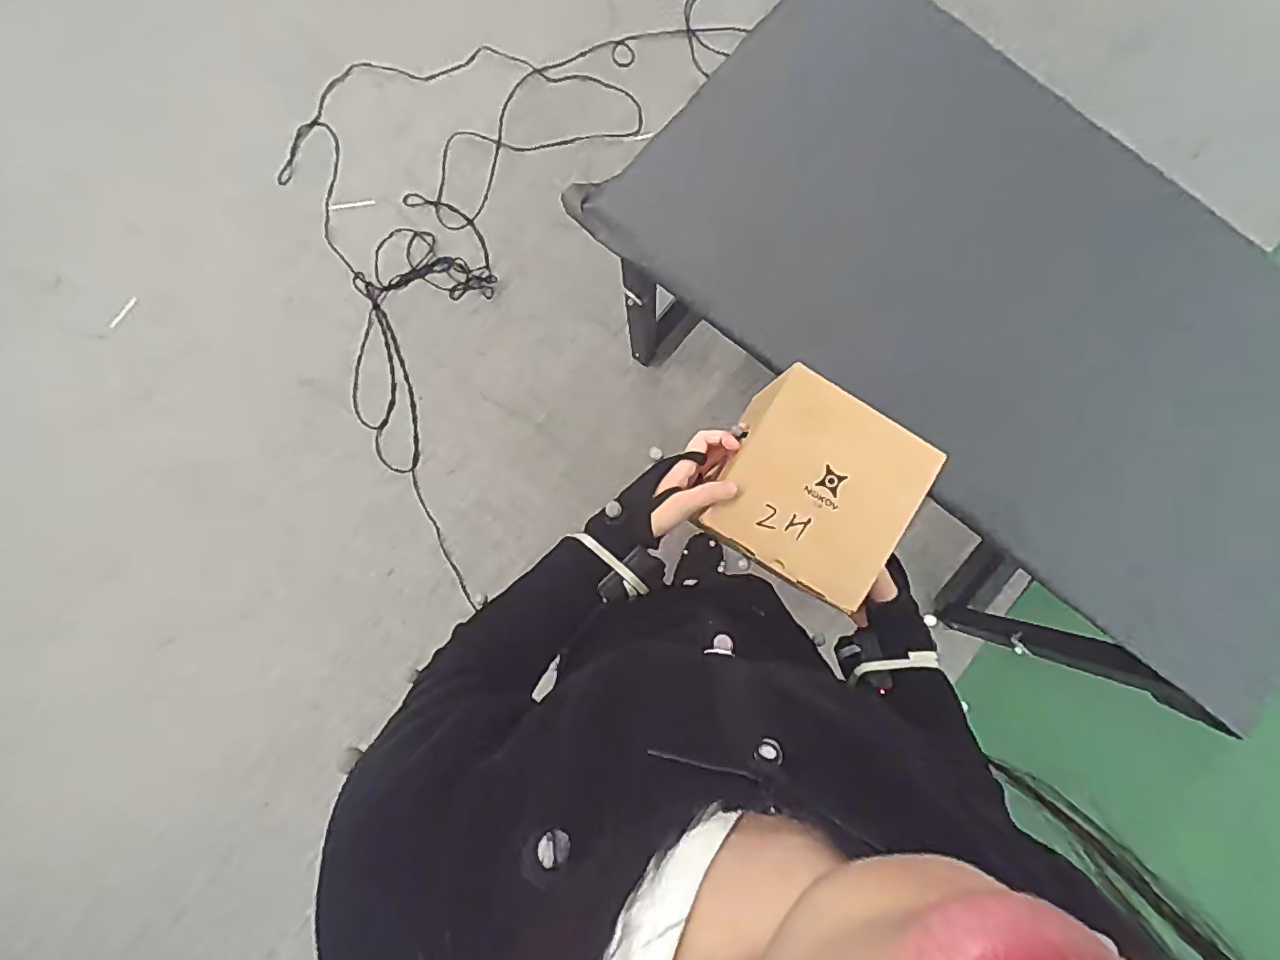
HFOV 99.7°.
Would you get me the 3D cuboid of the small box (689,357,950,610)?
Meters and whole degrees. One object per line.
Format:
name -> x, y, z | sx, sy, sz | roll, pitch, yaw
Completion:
small box -> 0.167, 0.006, 0.565 | 0.168, 0.176, 0.179 | 32, 85, -1
